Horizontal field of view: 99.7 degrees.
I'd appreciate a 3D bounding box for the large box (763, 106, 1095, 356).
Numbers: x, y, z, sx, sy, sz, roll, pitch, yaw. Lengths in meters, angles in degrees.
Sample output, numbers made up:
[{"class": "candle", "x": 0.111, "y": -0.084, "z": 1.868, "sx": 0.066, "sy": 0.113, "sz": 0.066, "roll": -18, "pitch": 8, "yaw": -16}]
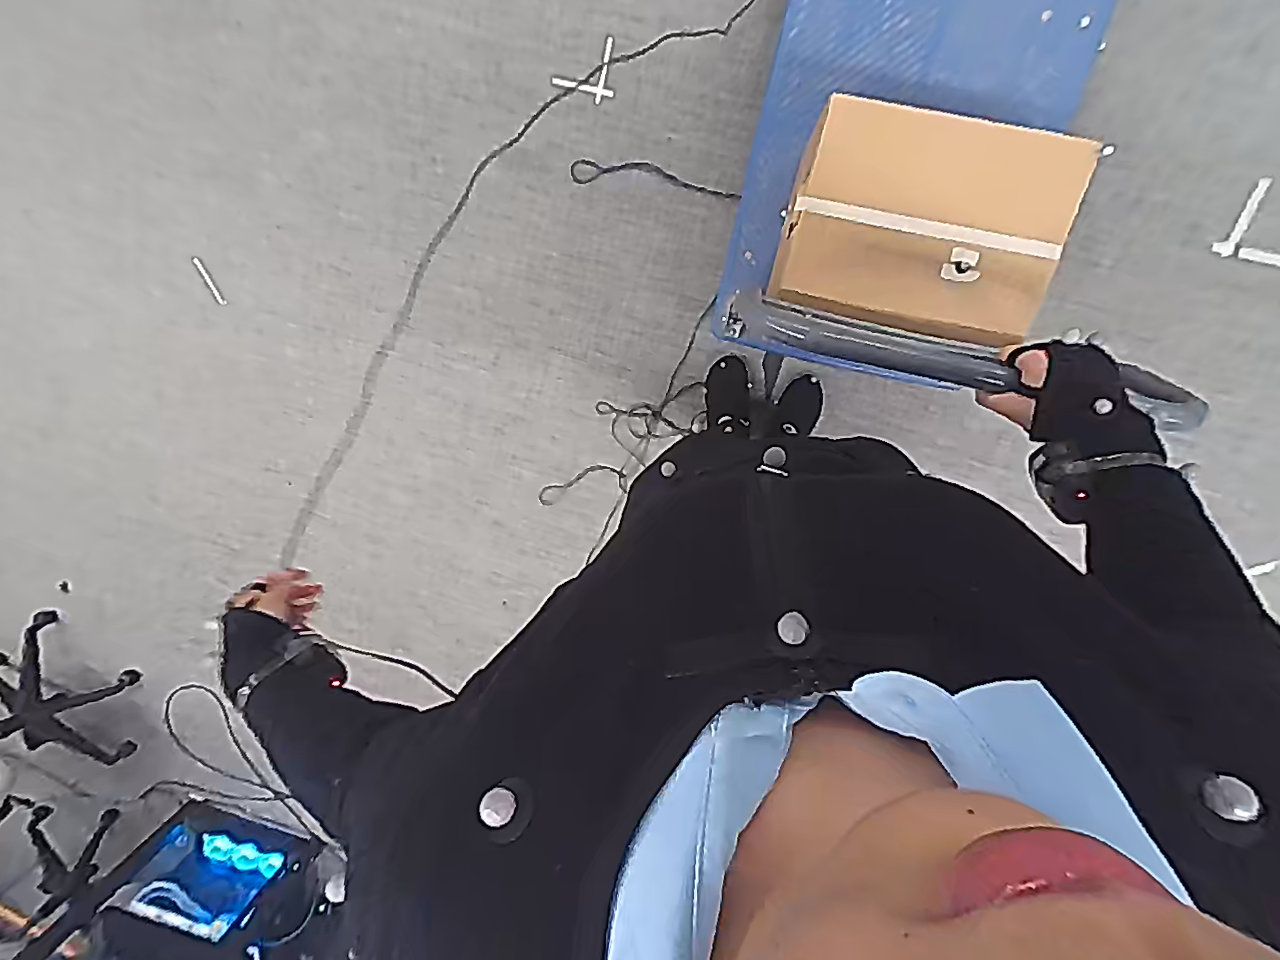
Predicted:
[{"class": "large box", "x": 0.471, "y": -0.427, "z": 0.997, "sx": 0.408, "sy": 0.320, "sz": 0.320, "roll": 14, "pitch": 108, "yaw": 4}]
